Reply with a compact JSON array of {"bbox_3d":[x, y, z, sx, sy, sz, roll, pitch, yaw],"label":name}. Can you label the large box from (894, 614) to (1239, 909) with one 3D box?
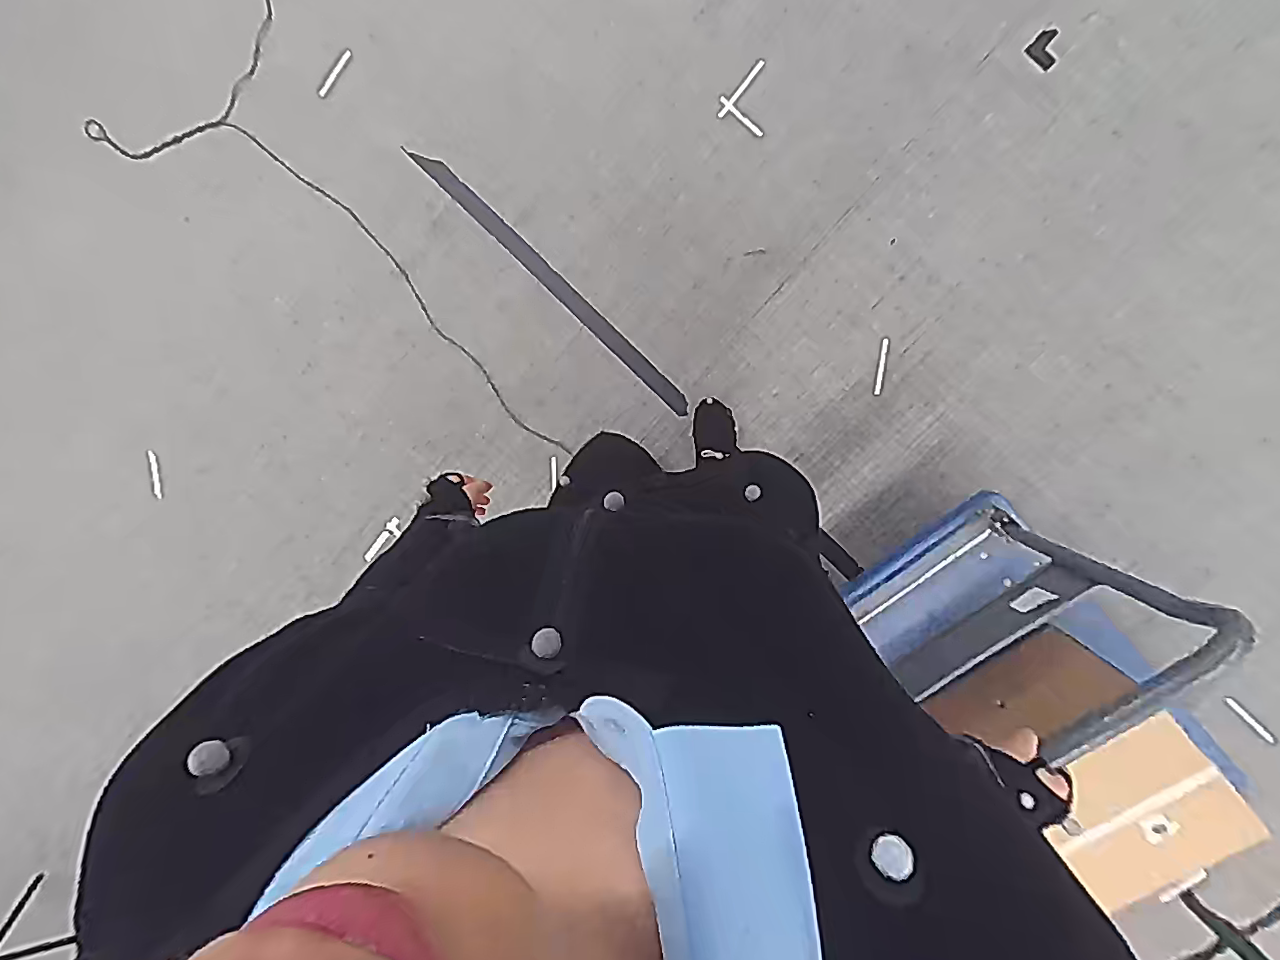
[{"bbox_3d":[0.835,0.560,1.136,0.408,0.320,0.320,-40,91,11],"label":"large box"}]
